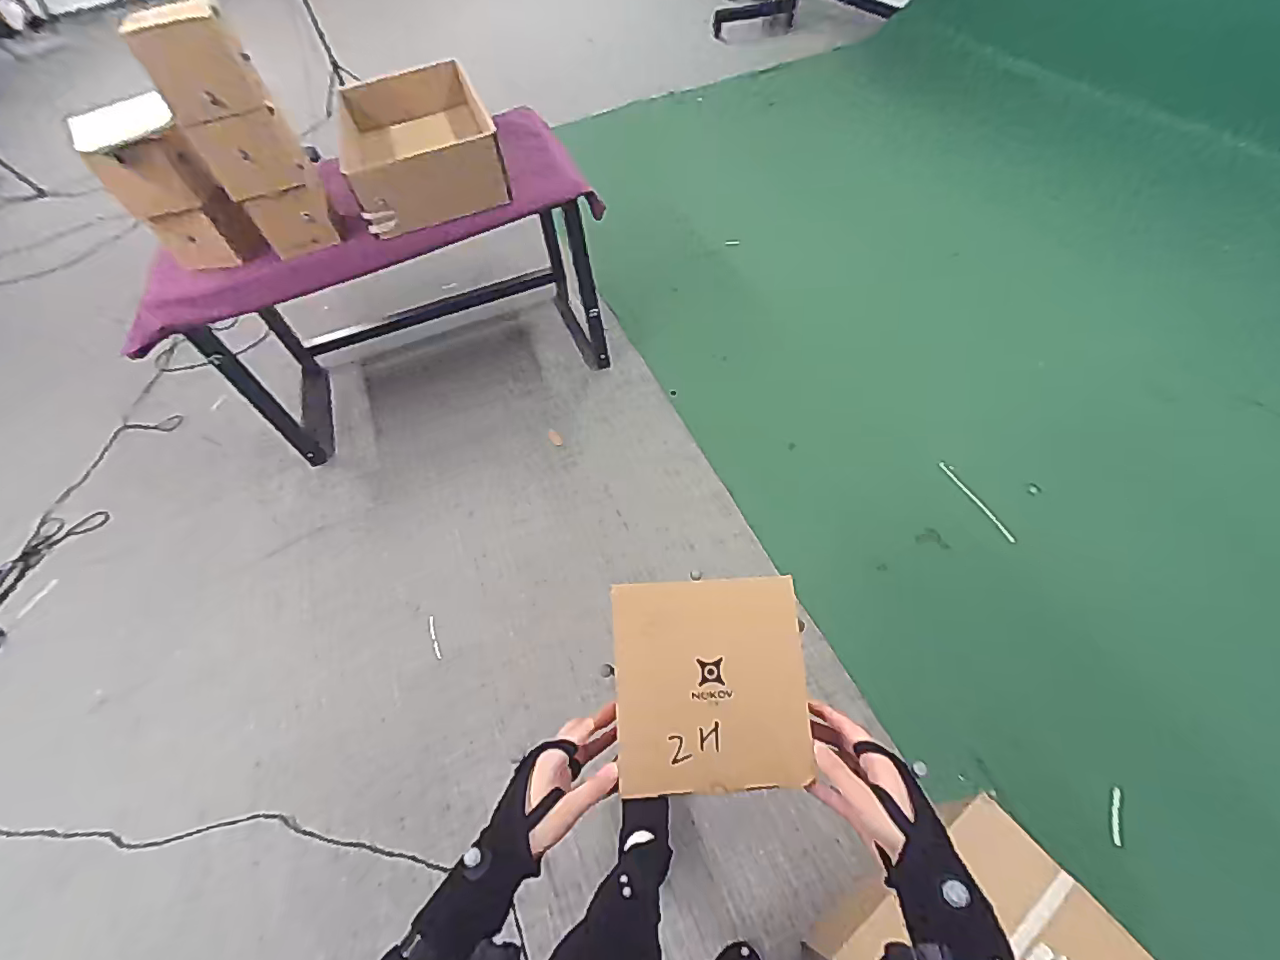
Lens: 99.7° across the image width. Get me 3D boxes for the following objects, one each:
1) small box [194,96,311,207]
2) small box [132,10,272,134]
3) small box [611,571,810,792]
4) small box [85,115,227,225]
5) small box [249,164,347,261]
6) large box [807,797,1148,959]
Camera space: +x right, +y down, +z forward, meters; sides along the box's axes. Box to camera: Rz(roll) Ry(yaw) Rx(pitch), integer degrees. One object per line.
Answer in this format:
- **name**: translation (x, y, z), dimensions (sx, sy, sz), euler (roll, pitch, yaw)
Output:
- **small box**: translation (-0.937, -0.804, 1.328), dimensions (0.179, 0.176, 0.168), euler (-20, 53, -9)
- **small box**: translation (-0.952, -0.902, 1.197), dimensions (0.179, 0.176, 0.168), euler (-20, 53, -9)
- **small box**: translation (0.055, 0.190, 0.544), dimensions (0.168, 0.176, 0.179), euler (-3, 76, -2)
- **small box**: translation (-1.165, -0.756, 1.323), dimensions (0.179, 0.176, 0.168), euler (-11, 54, 0)
- **small box**: translation (-0.918, -0.718, 1.467), dimensions (0.168, 0.176, 0.179), euler (-20, 53, -8)
- **large box**: translation (0.565, 0.860, 0.962), dimensions (0.408, 0.320, 0.320), euler (-33, 58, -17)
